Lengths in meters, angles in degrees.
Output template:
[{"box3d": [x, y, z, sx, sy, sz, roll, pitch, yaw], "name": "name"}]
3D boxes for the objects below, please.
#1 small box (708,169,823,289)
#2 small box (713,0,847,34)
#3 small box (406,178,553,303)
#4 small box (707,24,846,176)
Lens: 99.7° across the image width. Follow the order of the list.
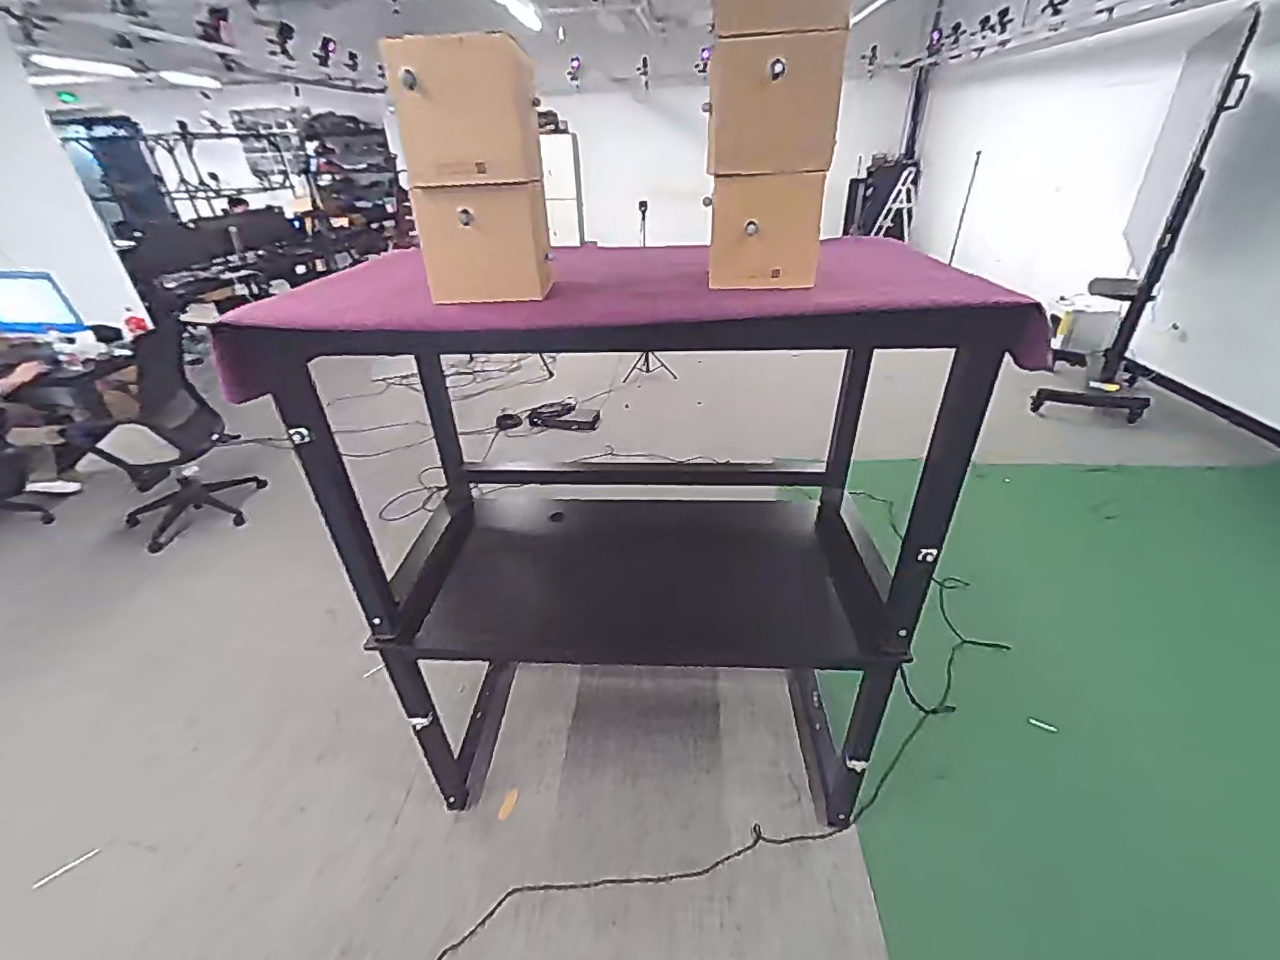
[{"box3d": [0.201, -0.420, 0.904, 0.168, 0.176, 0.179, 2, 30, 7], "name": "small box"}, {"box3d": [0.189, -0.703, 0.740, 0.179, 0.176, 0.168, 1, 31, 5], "name": "small box"}, {"box3d": [-0.247, -0.391, 0.880, 0.179, 0.176, 0.168, -2, 31, 1], "name": "small box"}, {"box3d": [0.191, -0.556, 0.814, 0.179, 0.176, 0.168, 0, 31, 4], "name": "small box"}]
